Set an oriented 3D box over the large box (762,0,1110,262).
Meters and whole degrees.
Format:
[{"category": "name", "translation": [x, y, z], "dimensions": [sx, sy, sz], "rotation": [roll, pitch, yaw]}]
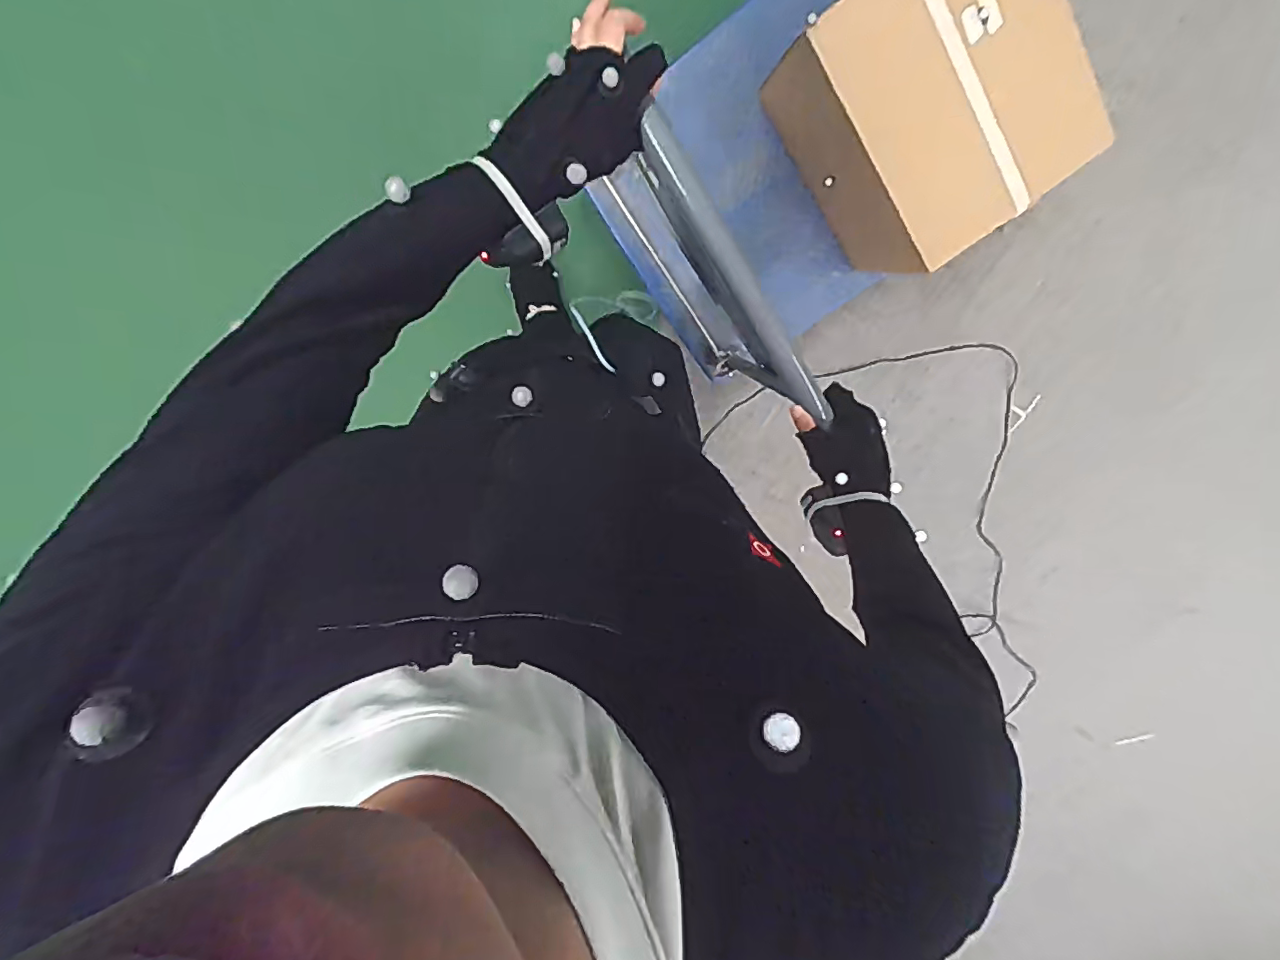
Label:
[{"category": "large box", "translation": [0.470, -0.640, 0.927], "dimensions": [0.320, 0.320, 0.408], "rotation": [-35, 108, 12]}]
